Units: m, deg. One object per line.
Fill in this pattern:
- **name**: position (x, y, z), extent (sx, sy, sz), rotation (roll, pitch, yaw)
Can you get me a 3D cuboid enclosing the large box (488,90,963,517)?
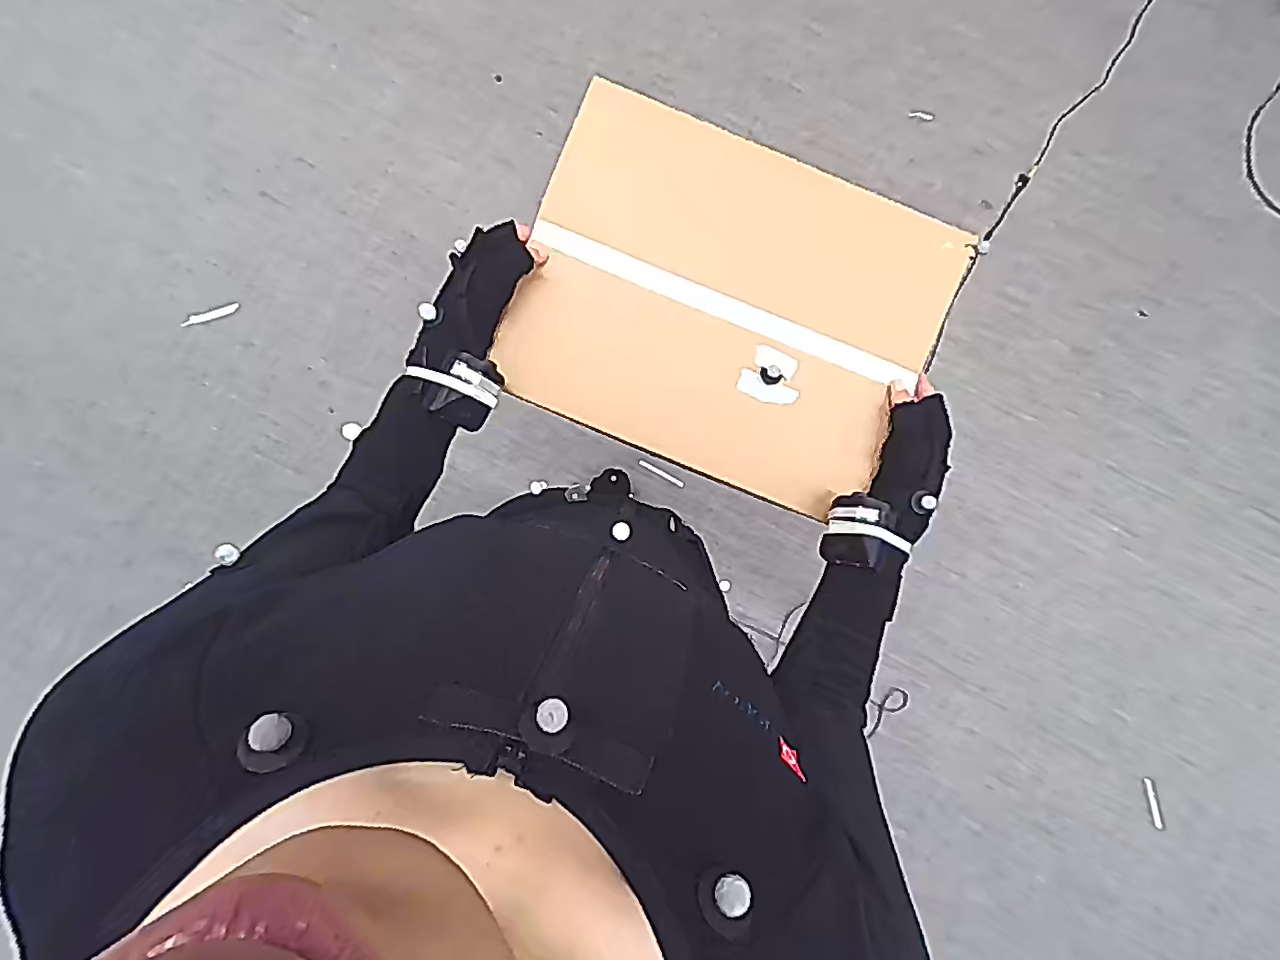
- **large box**: position (0.082, -0.179, 0.686), extent (0.408, 0.320, 0.320), rotation (22, 93, -1)
